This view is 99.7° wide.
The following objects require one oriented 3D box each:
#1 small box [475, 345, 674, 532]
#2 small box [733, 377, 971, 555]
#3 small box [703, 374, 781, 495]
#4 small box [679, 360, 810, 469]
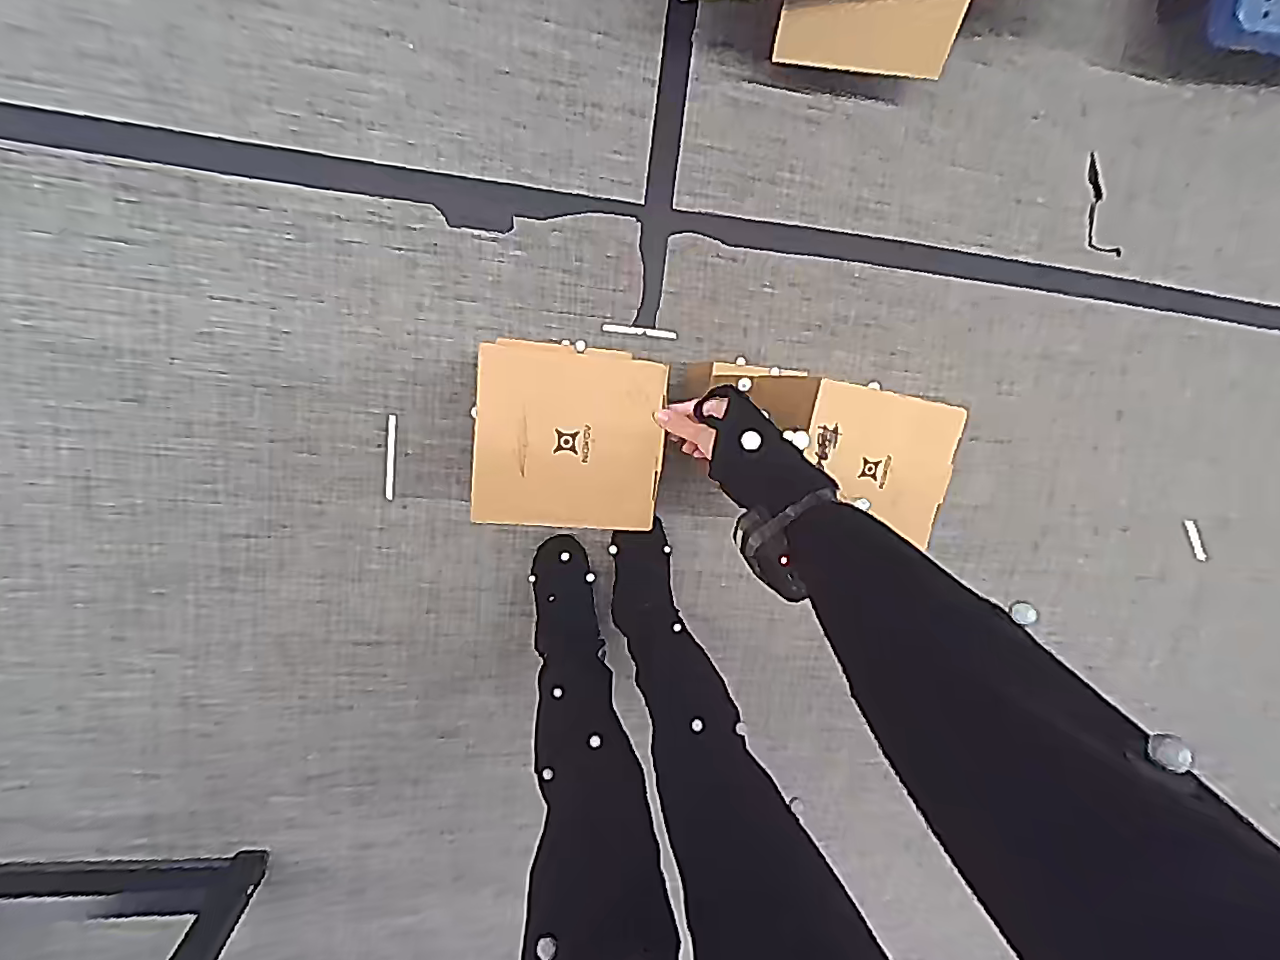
[{"bbox_3d":[-0.074,-0.048,0.579,0.179,0.176,0.168,4,99,-11],"label":"small box"},{"bbox_3d":[0.233,-0.025,0.637,0.179,0.176,0.168,10,100,-13],"label":"small box"},{"bbox_3d":[0.204,-0.062,0.795,0.179,0.176,0.168,6,101,-12],"label":"small box"},{"bbox_3d":[0.173,-0.112,0.949,0.168,0.176,0.179,4,100,-12],"label":"small box"}]
